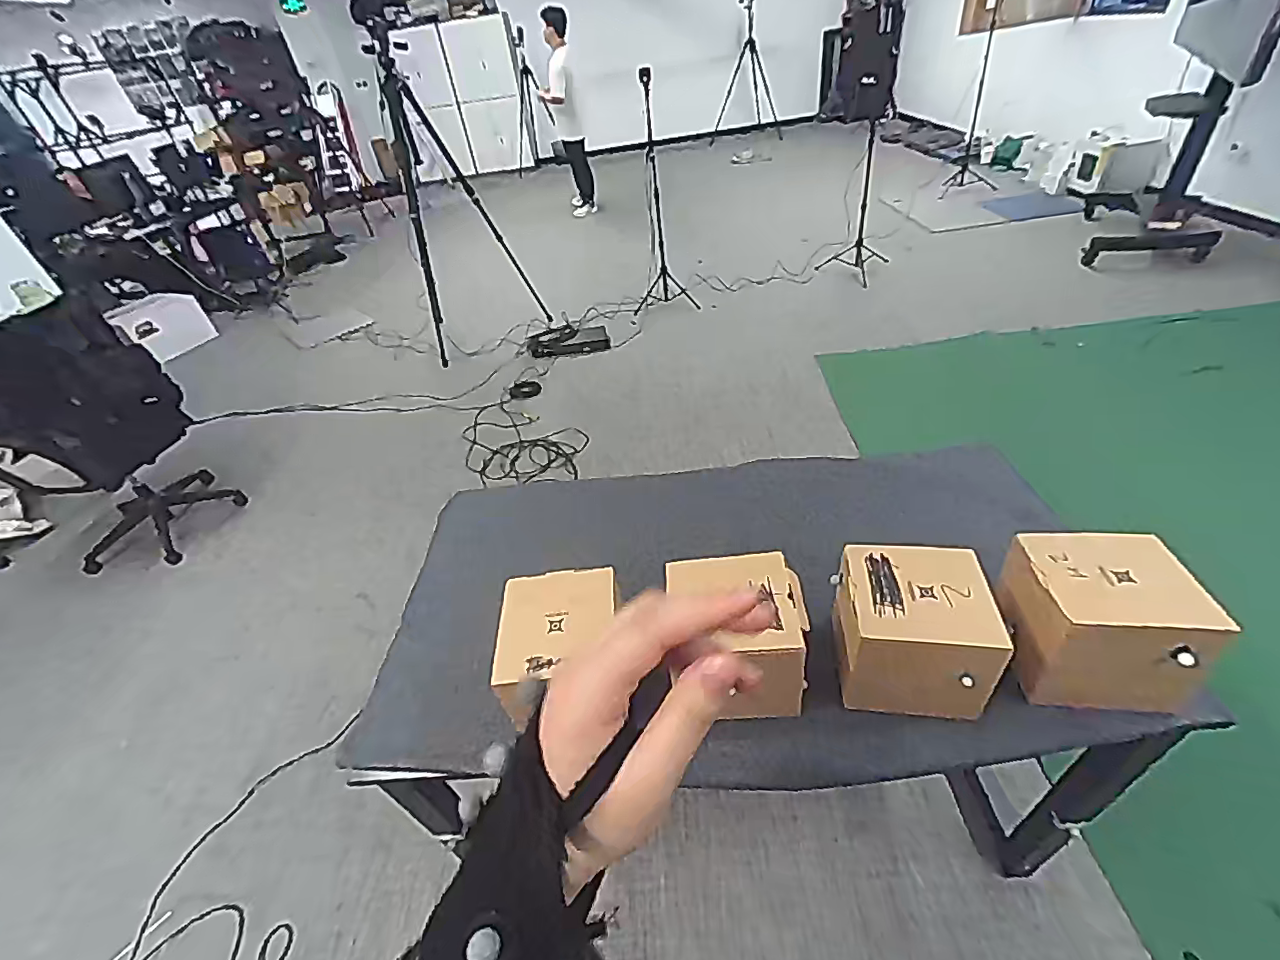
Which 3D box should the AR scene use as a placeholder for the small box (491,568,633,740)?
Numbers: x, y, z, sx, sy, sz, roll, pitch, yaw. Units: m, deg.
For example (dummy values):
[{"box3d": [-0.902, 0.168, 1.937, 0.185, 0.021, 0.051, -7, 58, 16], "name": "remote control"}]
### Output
[{"box3d": [-0.104, 0.258, 0.805, 0.168, 0.176, 0.179, -8, 39, 4], "name": "small box"}]
